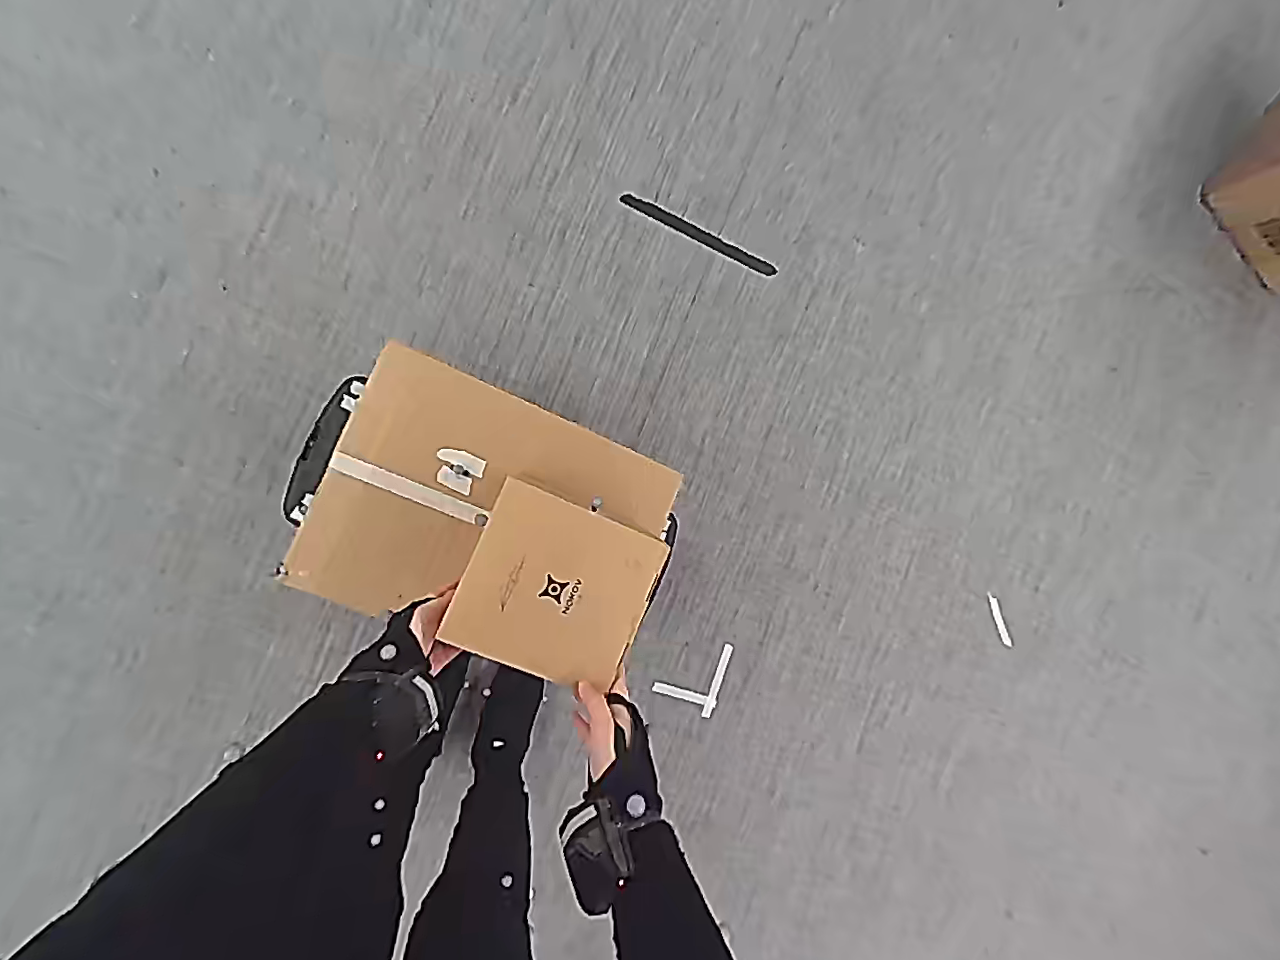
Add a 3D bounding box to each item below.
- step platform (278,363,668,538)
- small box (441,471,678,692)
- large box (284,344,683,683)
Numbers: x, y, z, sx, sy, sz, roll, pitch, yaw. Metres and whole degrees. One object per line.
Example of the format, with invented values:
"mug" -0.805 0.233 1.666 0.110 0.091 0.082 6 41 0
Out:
"step platform" -0.288 0.060 1.040 0.684 0.204 0.286 29 85 -10
"small box" -0.086 0.095 0.588 0.179 0.176 0.168 25 86 -10
"large box" -0.203 0.049 0.815 0.408 0.320 0.320 24 85 -10
